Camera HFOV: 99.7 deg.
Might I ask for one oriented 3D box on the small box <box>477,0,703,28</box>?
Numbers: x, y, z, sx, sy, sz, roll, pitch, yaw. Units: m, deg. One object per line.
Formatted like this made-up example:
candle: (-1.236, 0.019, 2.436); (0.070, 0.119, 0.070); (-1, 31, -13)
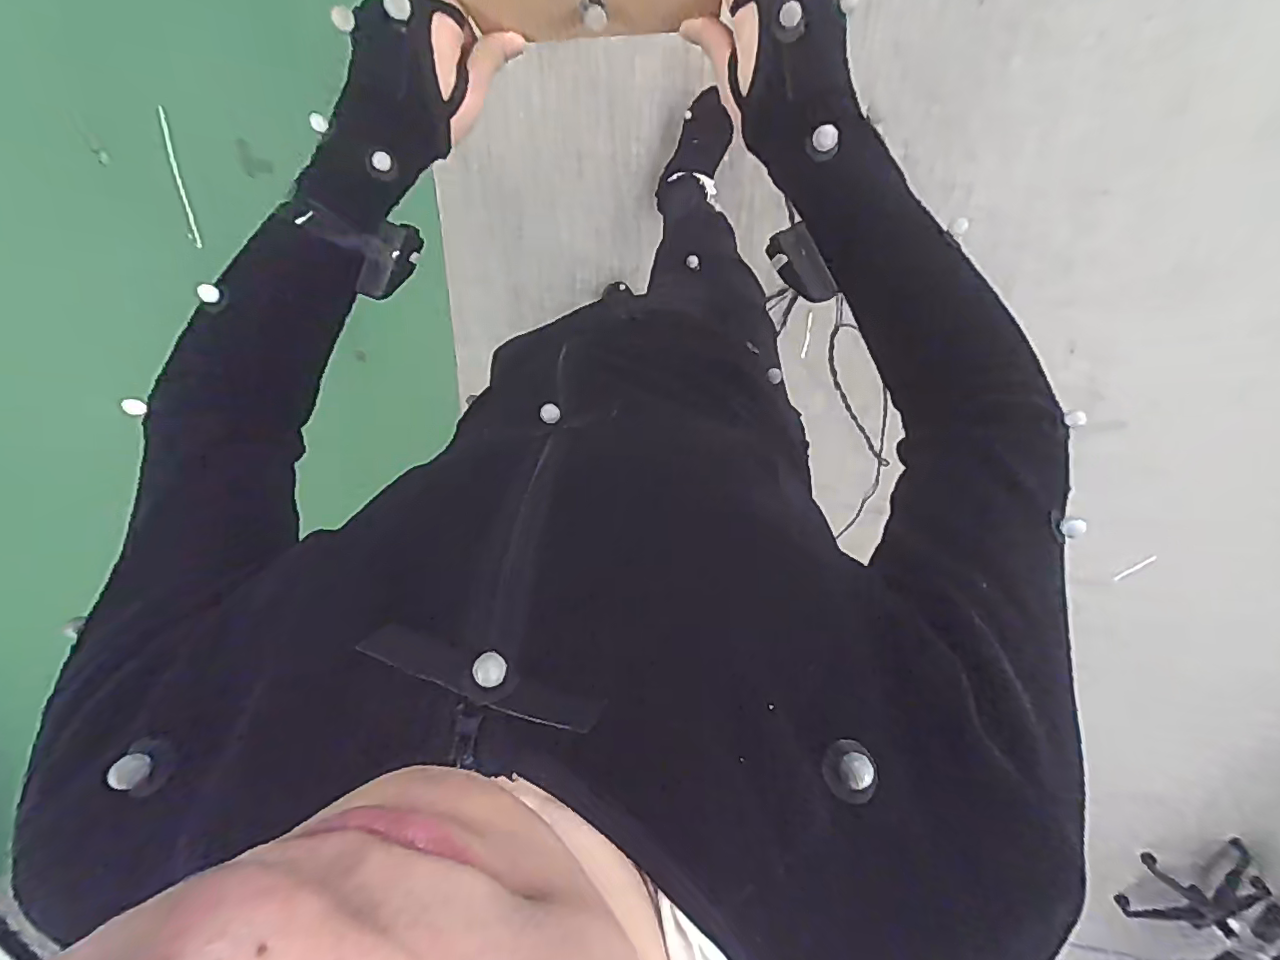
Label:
small box: (-0.031, -0.395, 0.300); (0.179, 0.176, 0.168); (-1, 101, 3)
